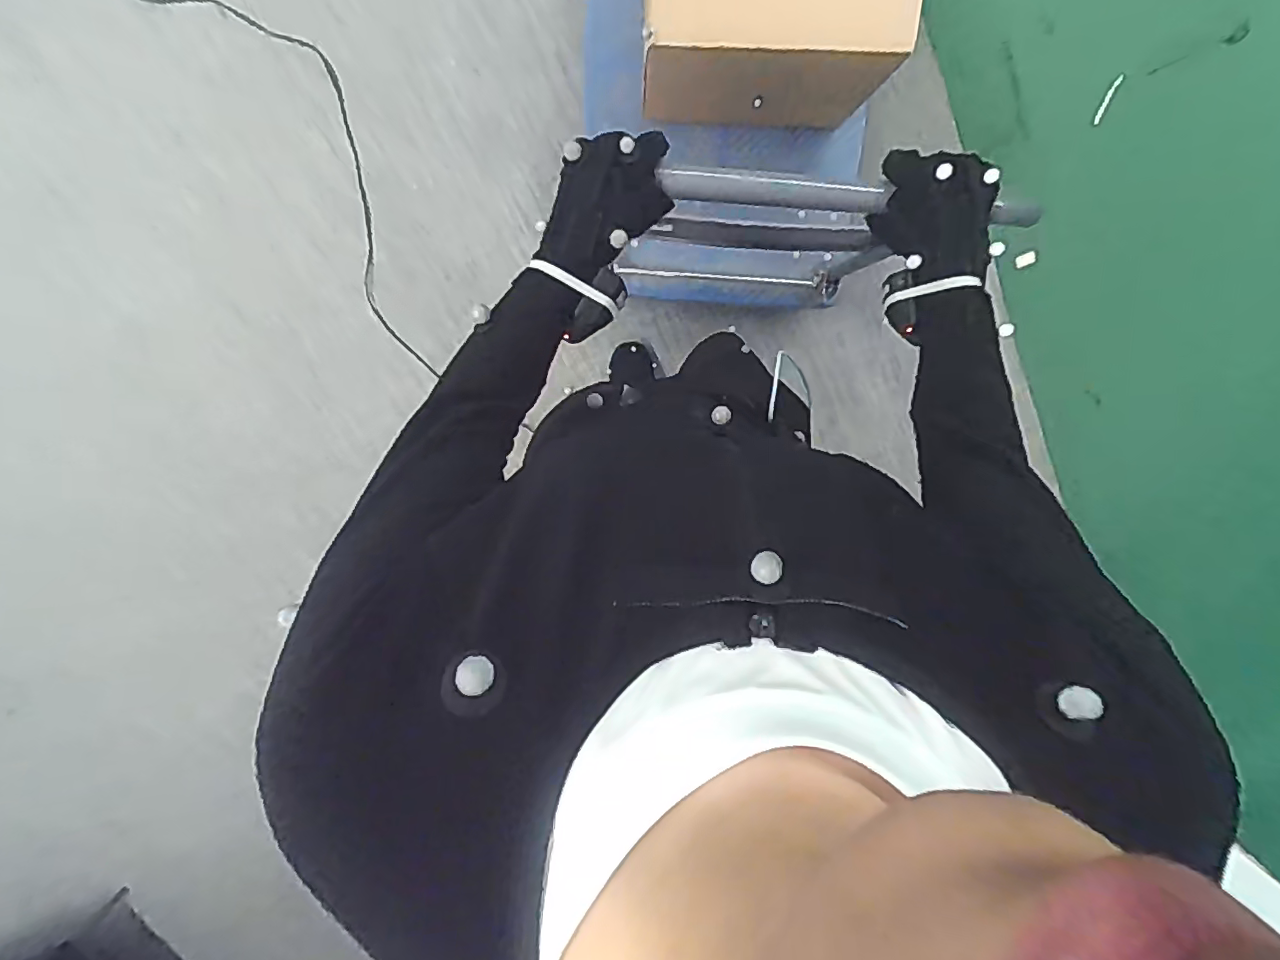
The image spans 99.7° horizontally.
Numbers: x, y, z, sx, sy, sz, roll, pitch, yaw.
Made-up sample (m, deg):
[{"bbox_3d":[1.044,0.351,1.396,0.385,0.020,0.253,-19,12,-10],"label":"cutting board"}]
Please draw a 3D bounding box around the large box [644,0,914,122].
[{"bbox_3d":[0.212,-0.839,0.925,0.408,0.320,0.320,0,105,0],"label":"large box"}]
